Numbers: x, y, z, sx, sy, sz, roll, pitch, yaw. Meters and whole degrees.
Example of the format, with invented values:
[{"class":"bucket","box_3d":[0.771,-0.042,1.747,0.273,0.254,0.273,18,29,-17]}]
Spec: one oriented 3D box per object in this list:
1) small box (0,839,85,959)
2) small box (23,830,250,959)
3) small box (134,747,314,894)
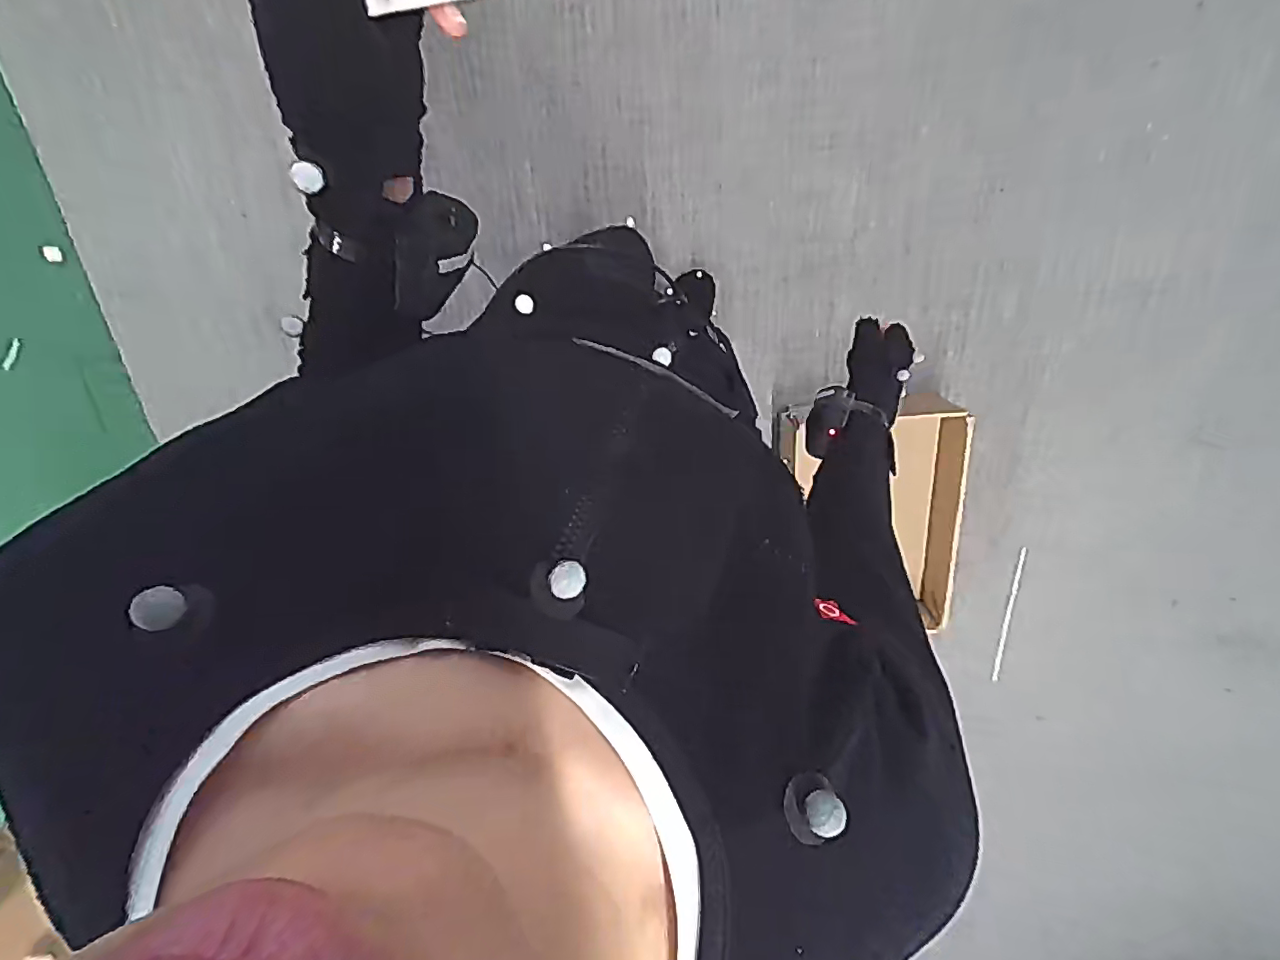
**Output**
[{"class":"small box","box_3d":[-1.067,0.722,0.883,0.168,0.176,0.179,0,113,6]},{"class":"small box","box_3d":[-0.759,0.687,0.843,0.168,0.176,0.179,0,114,4]},{"class":"small box","box_3d":[-0.745,0.616,0.991,0.168,0.176,0.179,-3,114,6]}]
